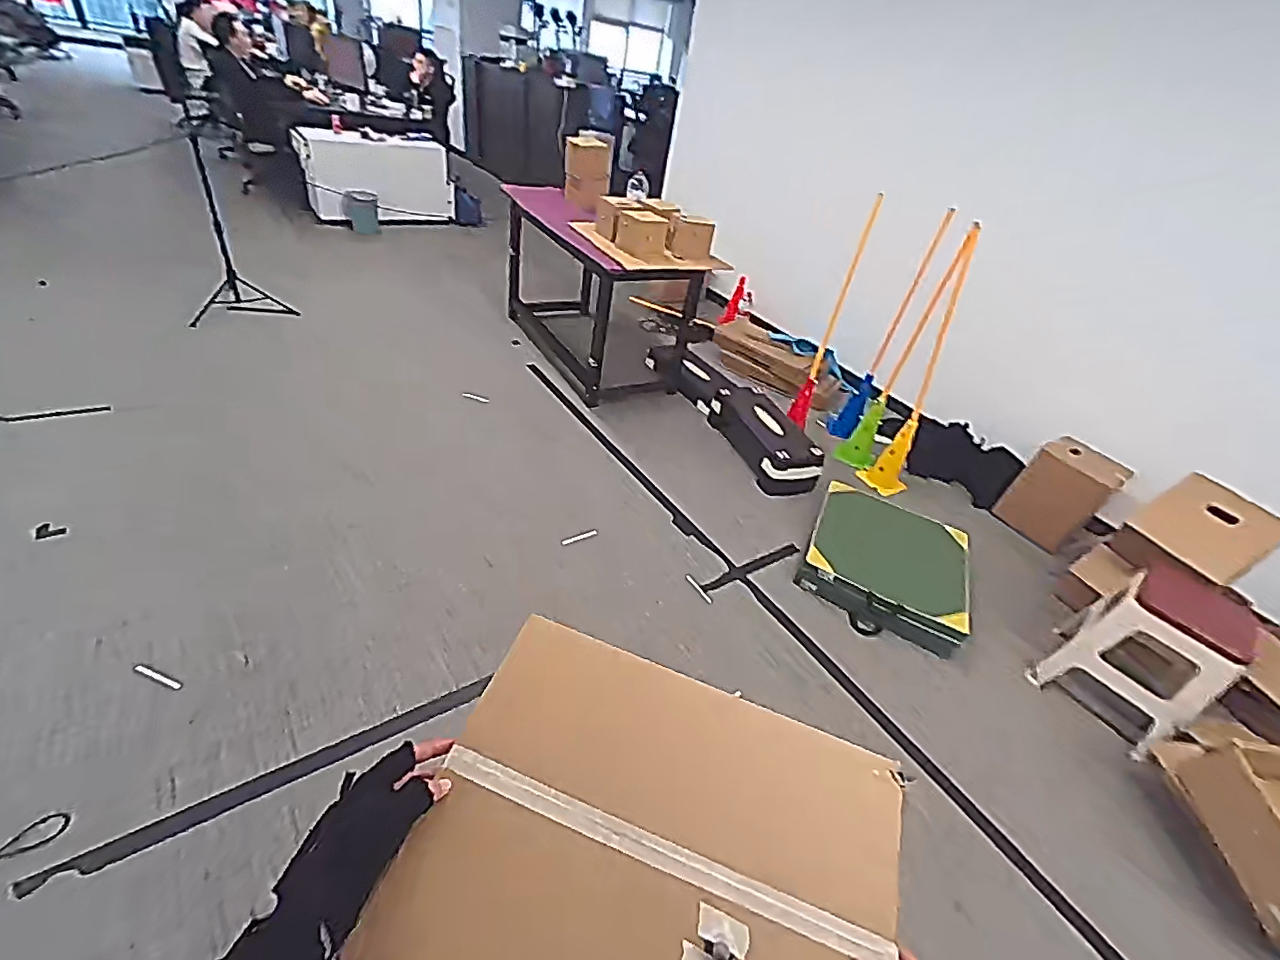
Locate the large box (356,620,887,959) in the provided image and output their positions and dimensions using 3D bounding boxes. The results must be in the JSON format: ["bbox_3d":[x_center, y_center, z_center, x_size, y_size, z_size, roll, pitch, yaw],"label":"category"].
[{"bbox_3d":[-0.003,0.420,0.589,0.408,0.320,0.320,20,49,9],"label":"large box"}]
